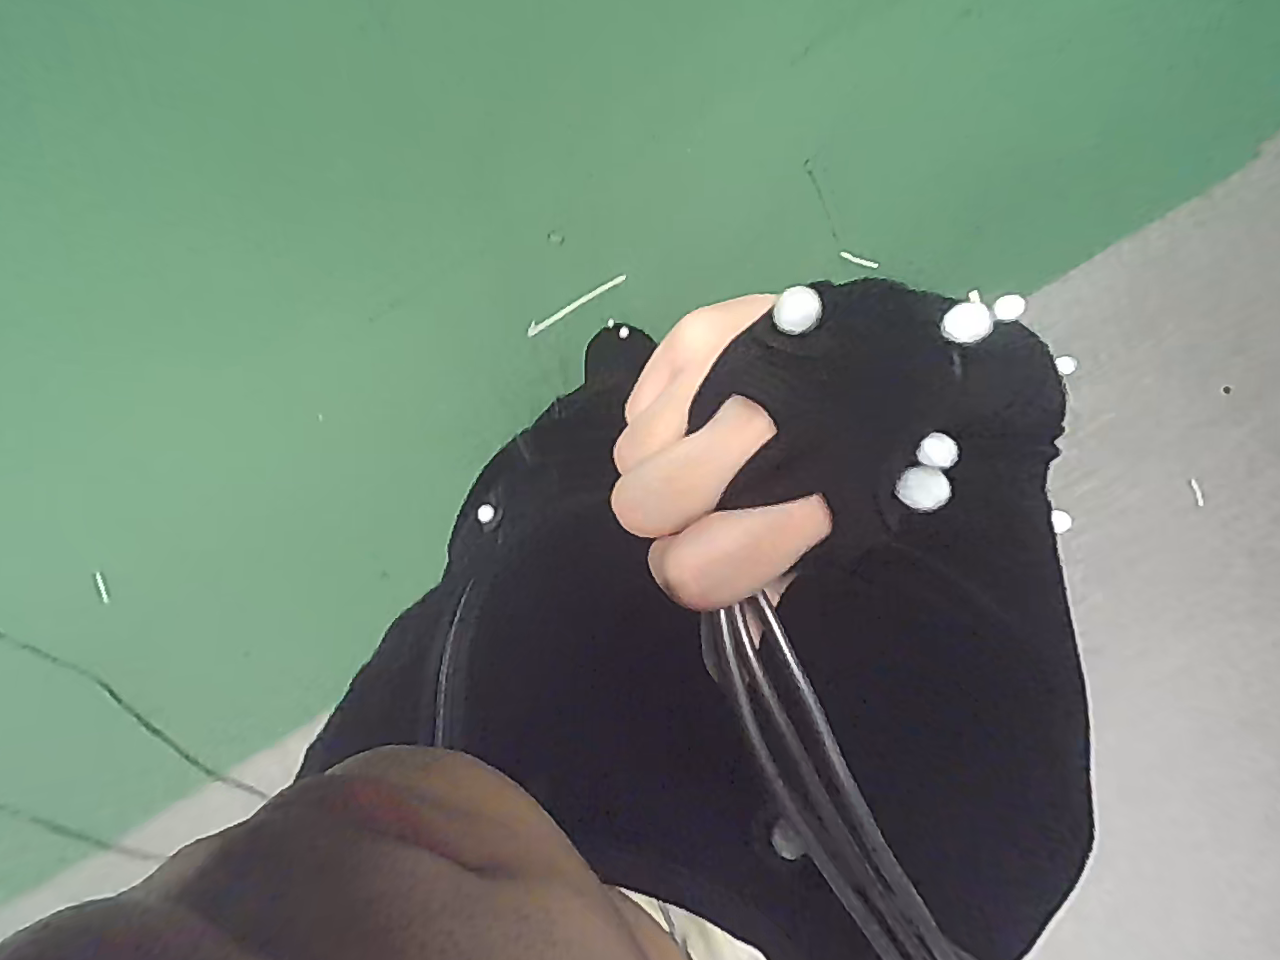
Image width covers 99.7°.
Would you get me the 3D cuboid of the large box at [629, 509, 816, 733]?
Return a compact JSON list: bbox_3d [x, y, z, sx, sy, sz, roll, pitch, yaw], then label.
[{"bbox_3d":[0.195,0.342,1.394,0.320,0.320,0.408,-22,104,0],"label":"large box"}]
